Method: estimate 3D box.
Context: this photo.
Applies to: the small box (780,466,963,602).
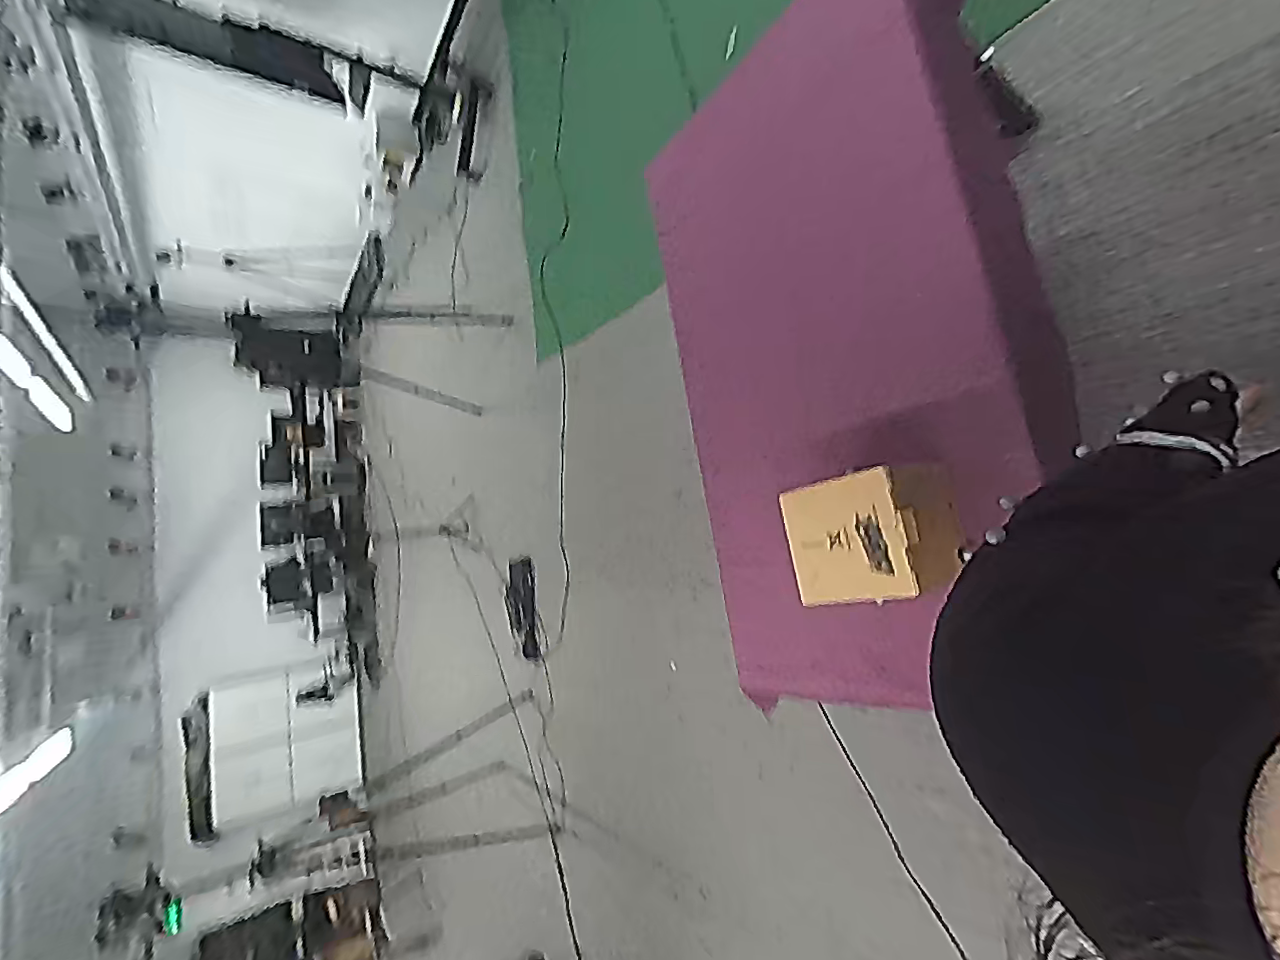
[{"bbox_3d":[0.340,0.078,0.790,0.179,0.176,0.168,-24,73,52],"label":"small box"}]
